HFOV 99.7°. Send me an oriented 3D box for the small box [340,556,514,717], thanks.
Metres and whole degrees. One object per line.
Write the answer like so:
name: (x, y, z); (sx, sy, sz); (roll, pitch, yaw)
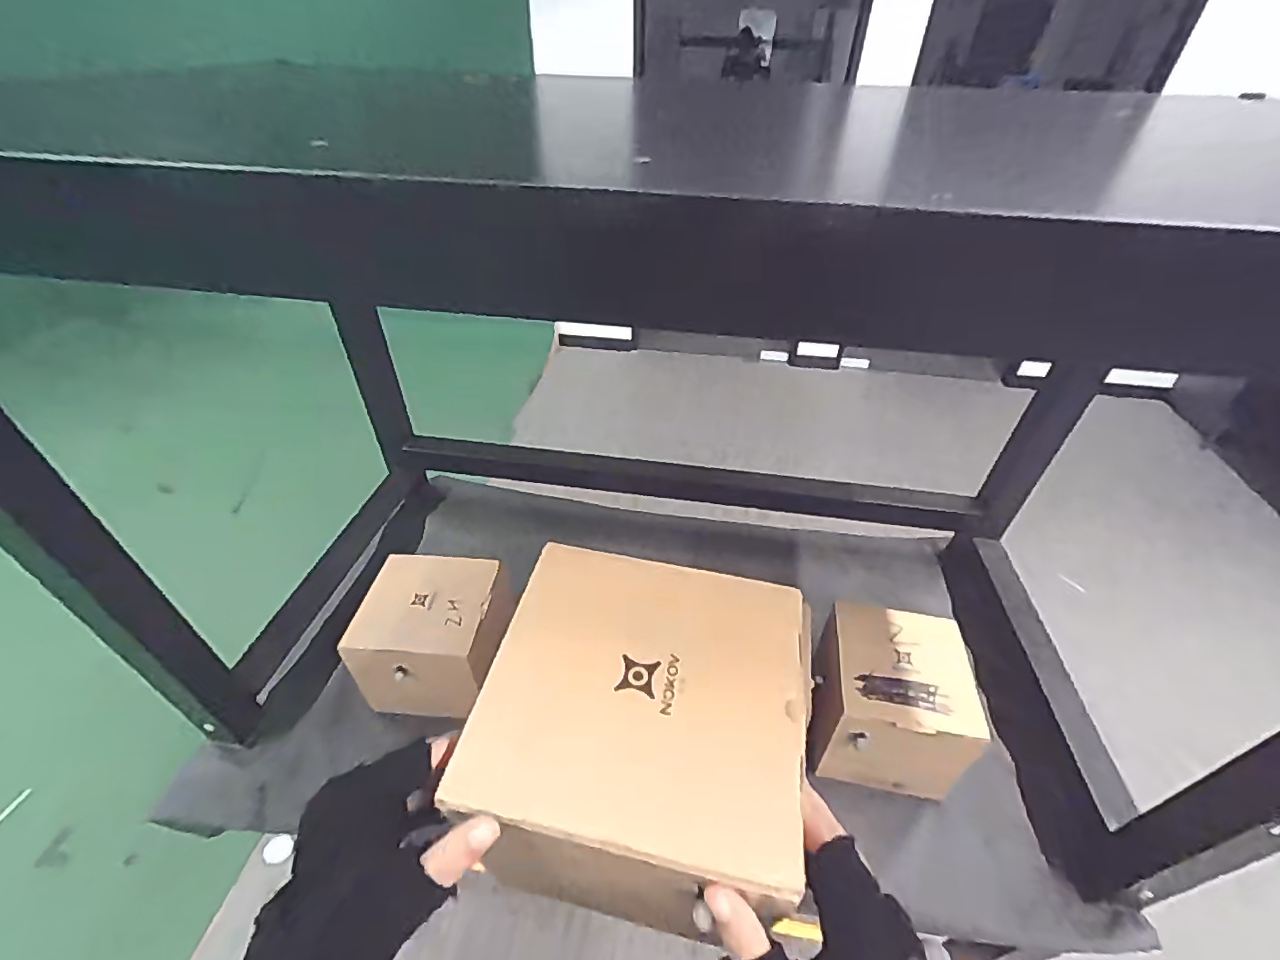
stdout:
small box: (-0.302, 0.235, 0.810); (0.179, 0.176, 0.168); (4, 40, 2)
